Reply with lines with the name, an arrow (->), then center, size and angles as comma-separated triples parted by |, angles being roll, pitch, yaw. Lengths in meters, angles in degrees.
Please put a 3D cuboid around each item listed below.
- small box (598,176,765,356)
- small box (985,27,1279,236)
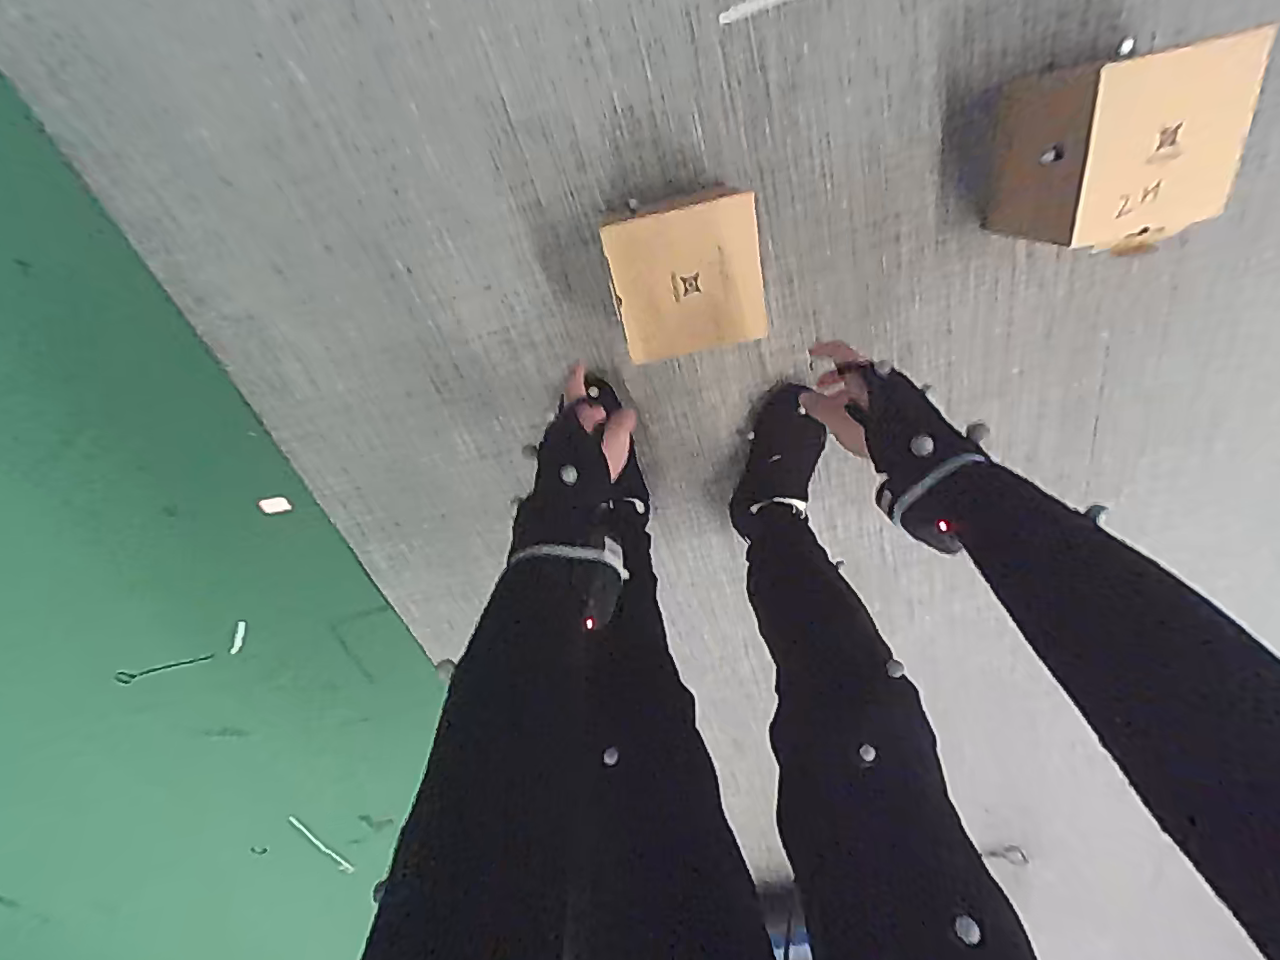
small box -> 0.051, -0.277, 0.691 | 0.179, 0.176, 0.168 | -11, 122, 4
small box -> 0.545, -0.398, 0.633 | 0.168, 0.176, 0.179 | -4, 123, 3
